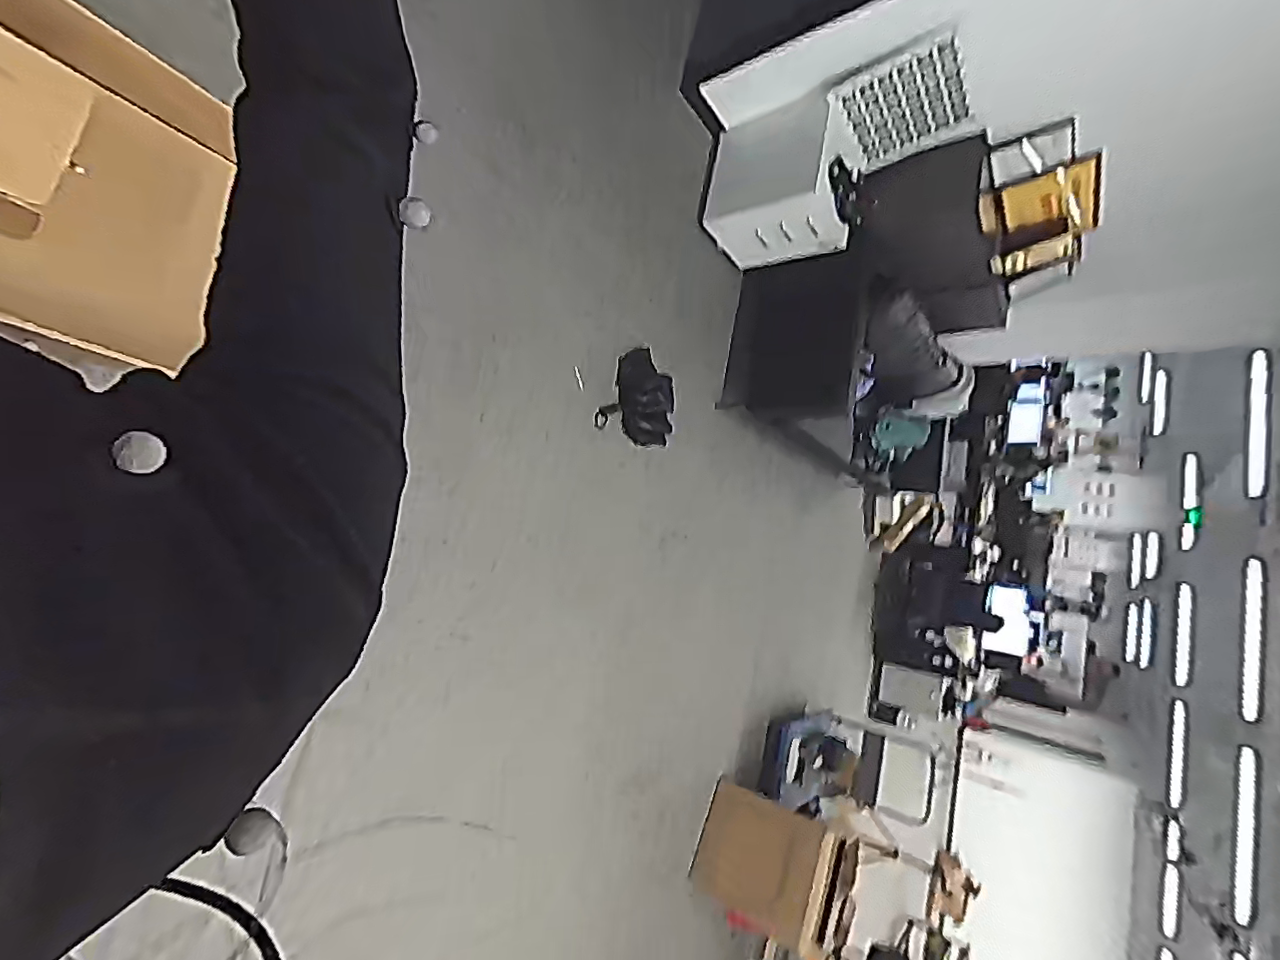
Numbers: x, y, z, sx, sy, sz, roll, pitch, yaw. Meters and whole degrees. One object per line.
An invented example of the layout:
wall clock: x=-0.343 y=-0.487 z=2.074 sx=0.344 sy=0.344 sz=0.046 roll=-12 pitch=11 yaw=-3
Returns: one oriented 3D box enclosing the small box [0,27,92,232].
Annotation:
small box: x=-0.785 y=-0.419 z=0.620 sx=0.168 sy=0.176 sz=0.179 roll=25 pitch=72 yaw=-52
